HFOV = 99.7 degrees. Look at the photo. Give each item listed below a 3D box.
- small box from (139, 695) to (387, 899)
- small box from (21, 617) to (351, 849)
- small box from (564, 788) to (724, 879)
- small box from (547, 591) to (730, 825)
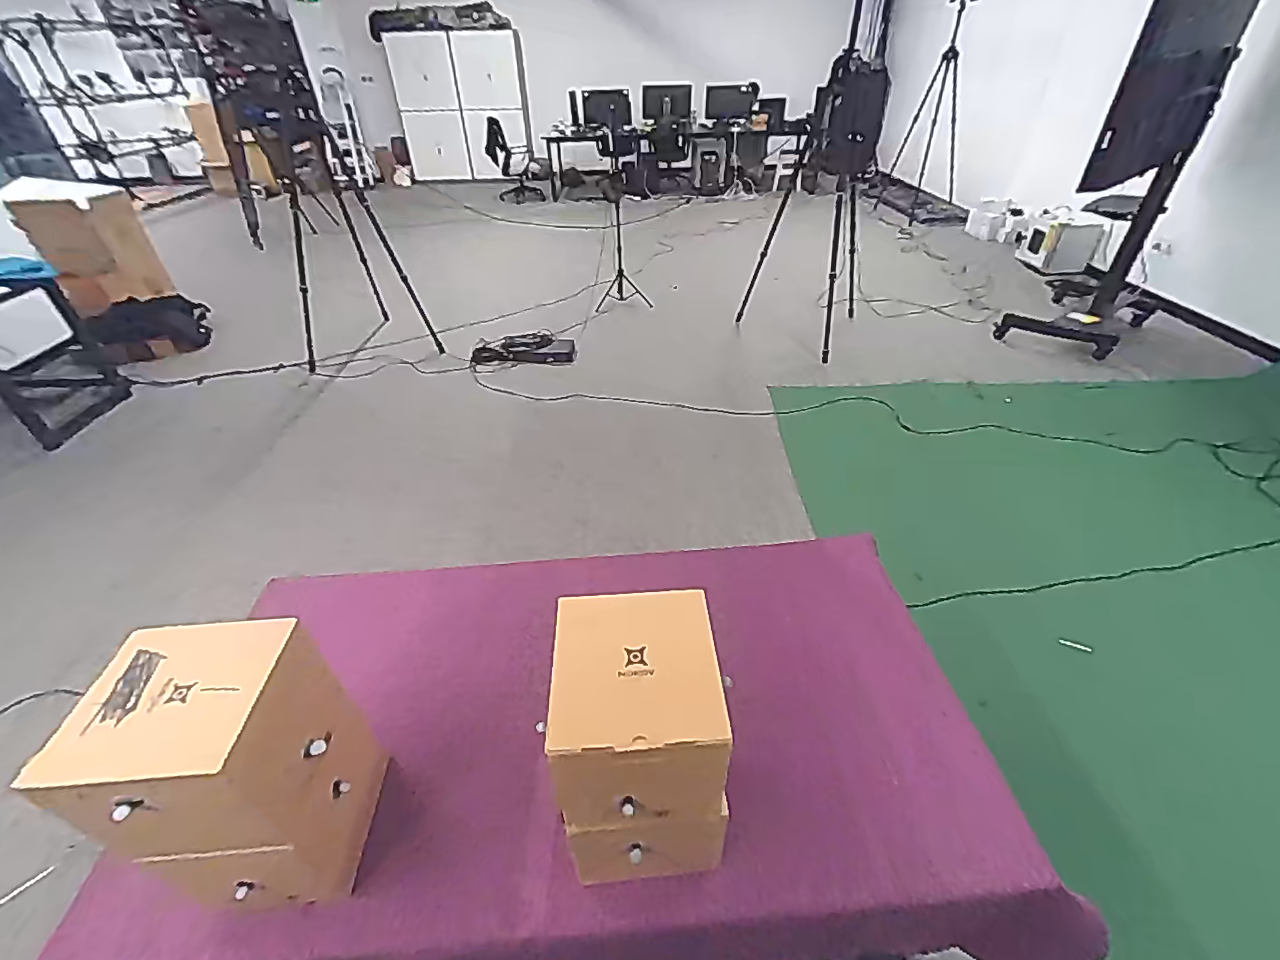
[{"bbox_3d":[-0.442,0.398,0.677,0.168,0.176,0.179,-3,37,-2],"label":"small box"},{"bbox_3d":[-0.448,0.268,0.575,0.179,0.176,0.168,-3,38,-3],"label":"small box"},{"bbox_3d":[0.004,0.377,0.684,0.179,0.176,0.168,-5,38,-2],"label":"small box"},{"bbox_3d":[-0.004,0.244,0.590,0.168,0.176,0.179,-3,38,-2],"label":"small box"}]
